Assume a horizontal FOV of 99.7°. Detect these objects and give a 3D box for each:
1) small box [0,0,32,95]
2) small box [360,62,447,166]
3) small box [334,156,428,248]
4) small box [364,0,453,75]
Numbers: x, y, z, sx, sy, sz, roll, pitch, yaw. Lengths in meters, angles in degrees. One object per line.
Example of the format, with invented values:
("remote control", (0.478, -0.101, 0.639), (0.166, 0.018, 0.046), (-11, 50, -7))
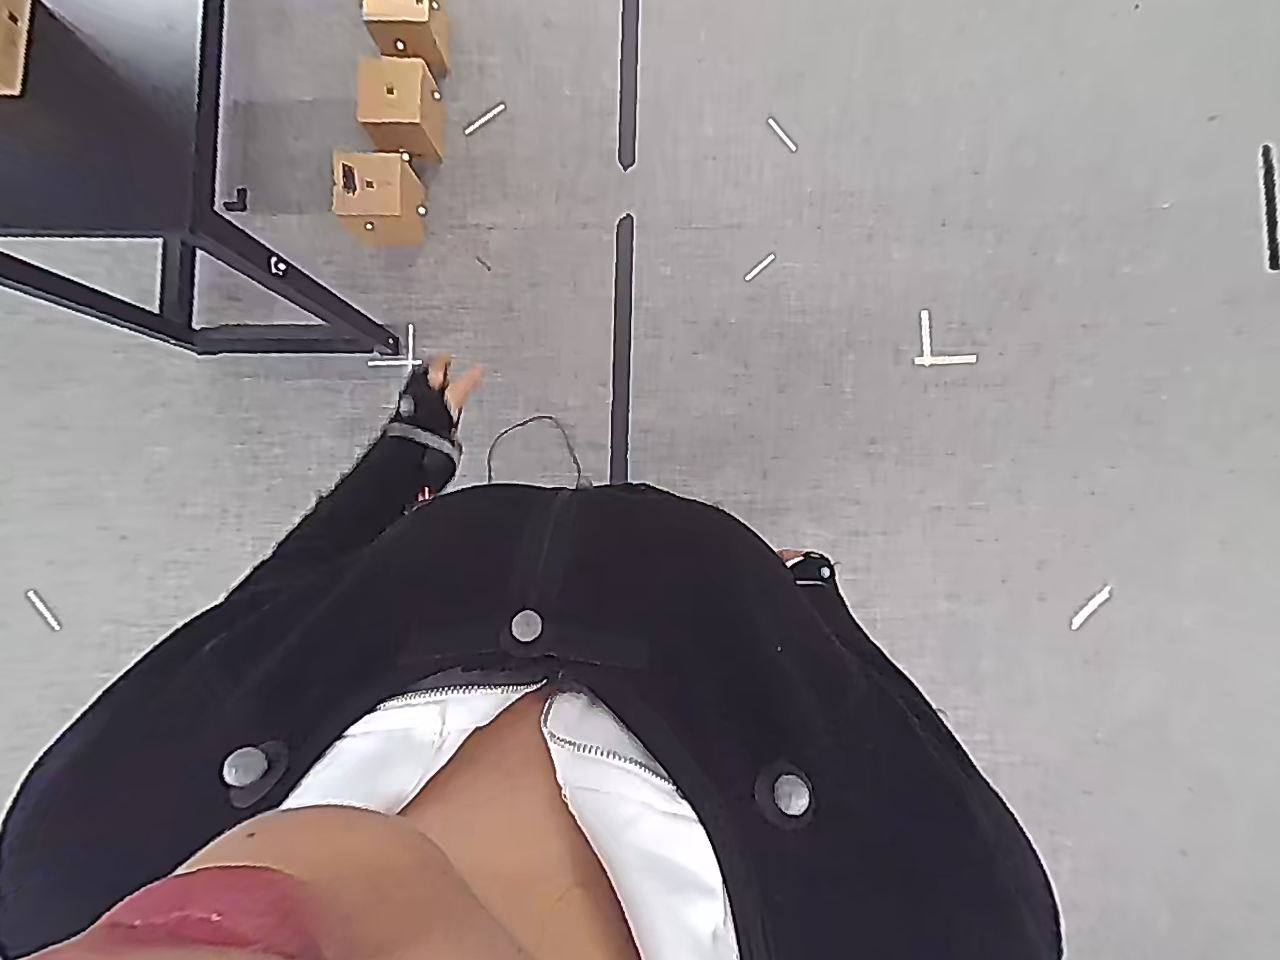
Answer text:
("small box", (-1.015, -0.671, 0.744), (0.179, 0.176, 0.168), (4, 87, 1))
("small box", (-0.644, -1.003, 1.488), (0.168, 0.176, 0.179), (0, 88, 2))
("small box", (-0.702, -0.751, 1.475), (0.179, 0.176, 0.168), (0, 88, 0))
("small box", (-0.637, -1.265, 1.499), (0.179, 0.176, 0.168), (0, 88, 1))
